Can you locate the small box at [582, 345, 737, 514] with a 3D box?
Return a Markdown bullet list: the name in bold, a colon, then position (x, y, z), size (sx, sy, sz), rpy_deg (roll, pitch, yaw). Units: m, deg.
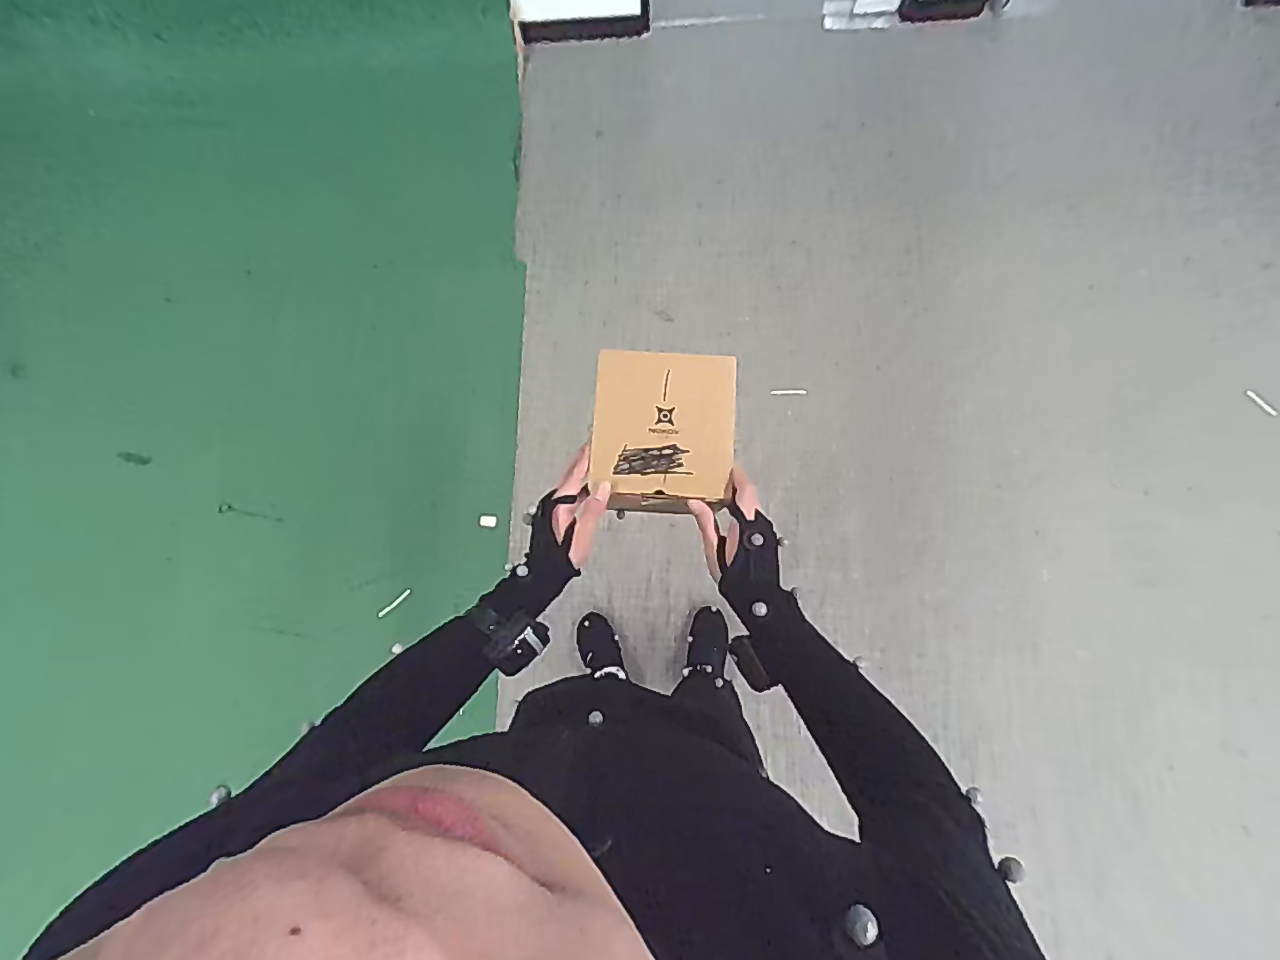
- **small box**: position (0.025, -0.053, 0.686), size (0.168, 0.176, 0.179), rpy_deg (4, 80, 1)
